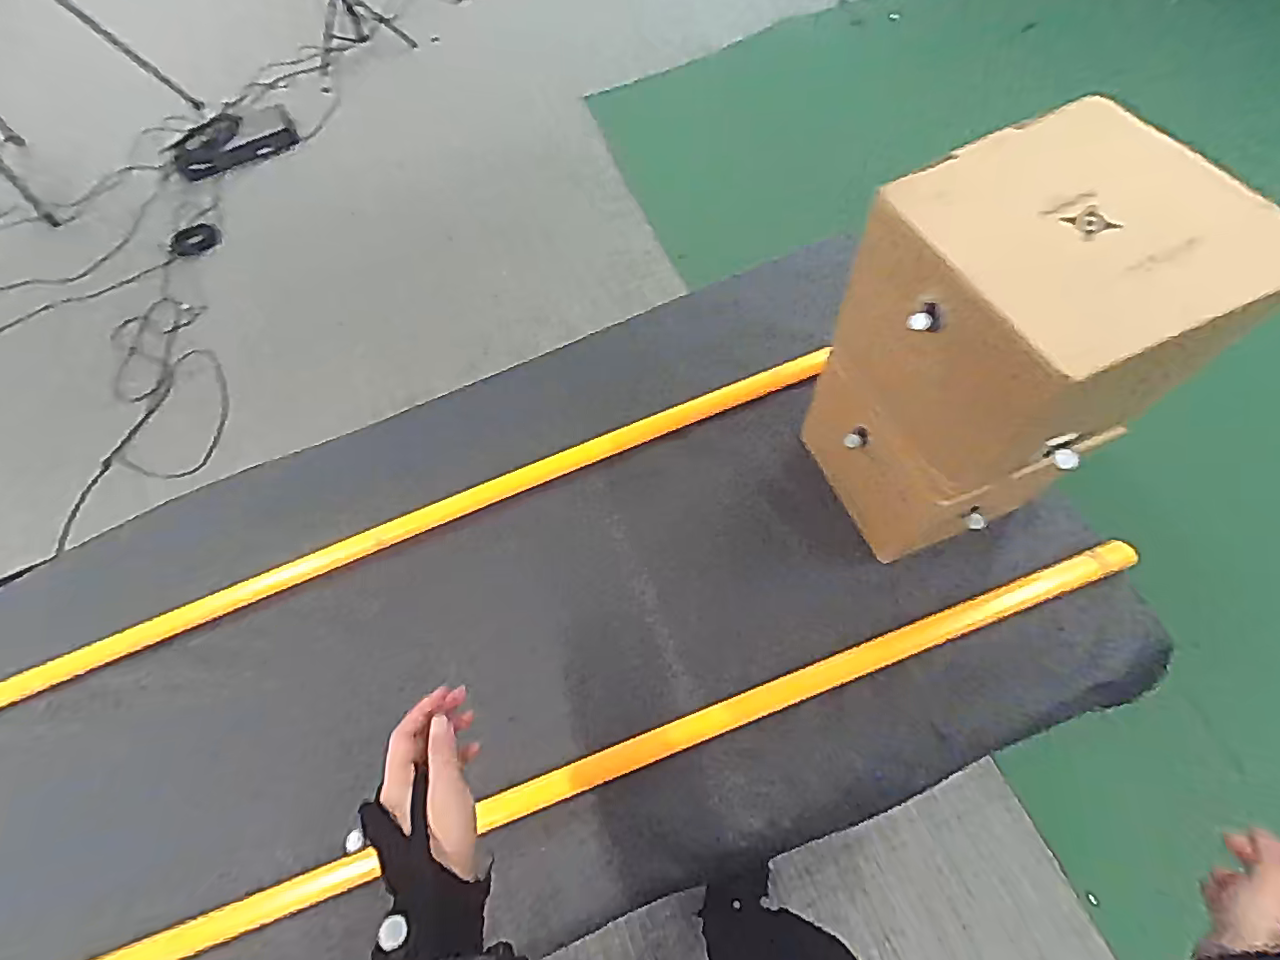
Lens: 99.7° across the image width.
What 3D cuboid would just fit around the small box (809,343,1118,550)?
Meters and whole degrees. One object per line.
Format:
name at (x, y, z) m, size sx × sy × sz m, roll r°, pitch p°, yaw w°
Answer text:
small box at (0.288, -0.046, 0.534) m, size 0.168 × 0.176 × 0.179 m, roll -22°, pitch 63°, yaw -2°

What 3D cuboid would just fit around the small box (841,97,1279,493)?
small box at (0.271, -0.120, 0.390) m, size 0.168 × 0.176 × 0.179 m, roll -24°, pitch 64°, yaw -2°
